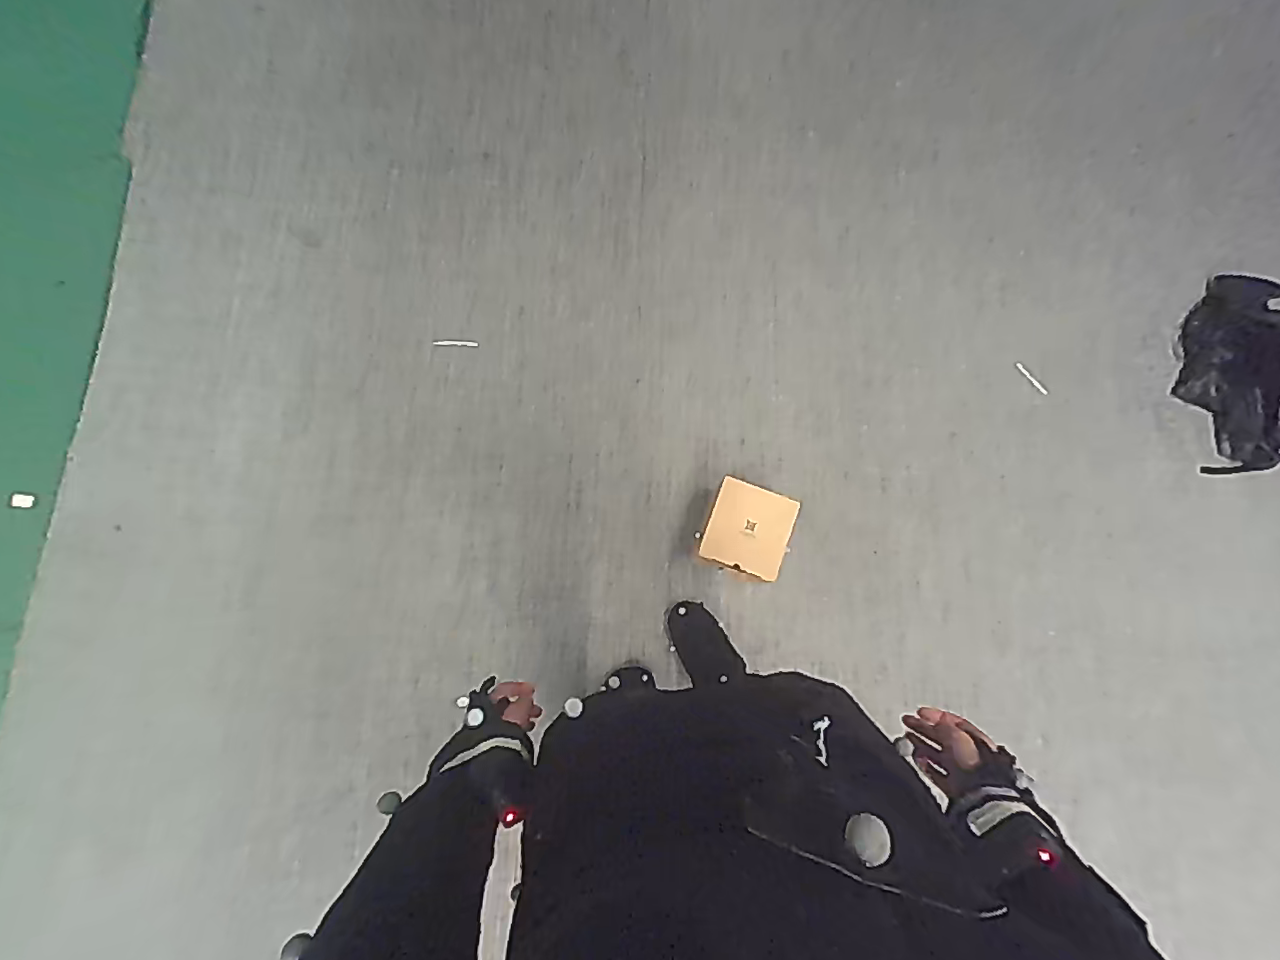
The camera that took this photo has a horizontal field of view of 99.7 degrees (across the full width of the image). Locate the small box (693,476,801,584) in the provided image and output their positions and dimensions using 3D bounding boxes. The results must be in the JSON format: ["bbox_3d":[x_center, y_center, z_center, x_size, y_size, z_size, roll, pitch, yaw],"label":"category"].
[{"bbox_3d":[0.221,0.113,1.164,0.168,0.176,0.179,20,80,3],"label":"small box"}]
